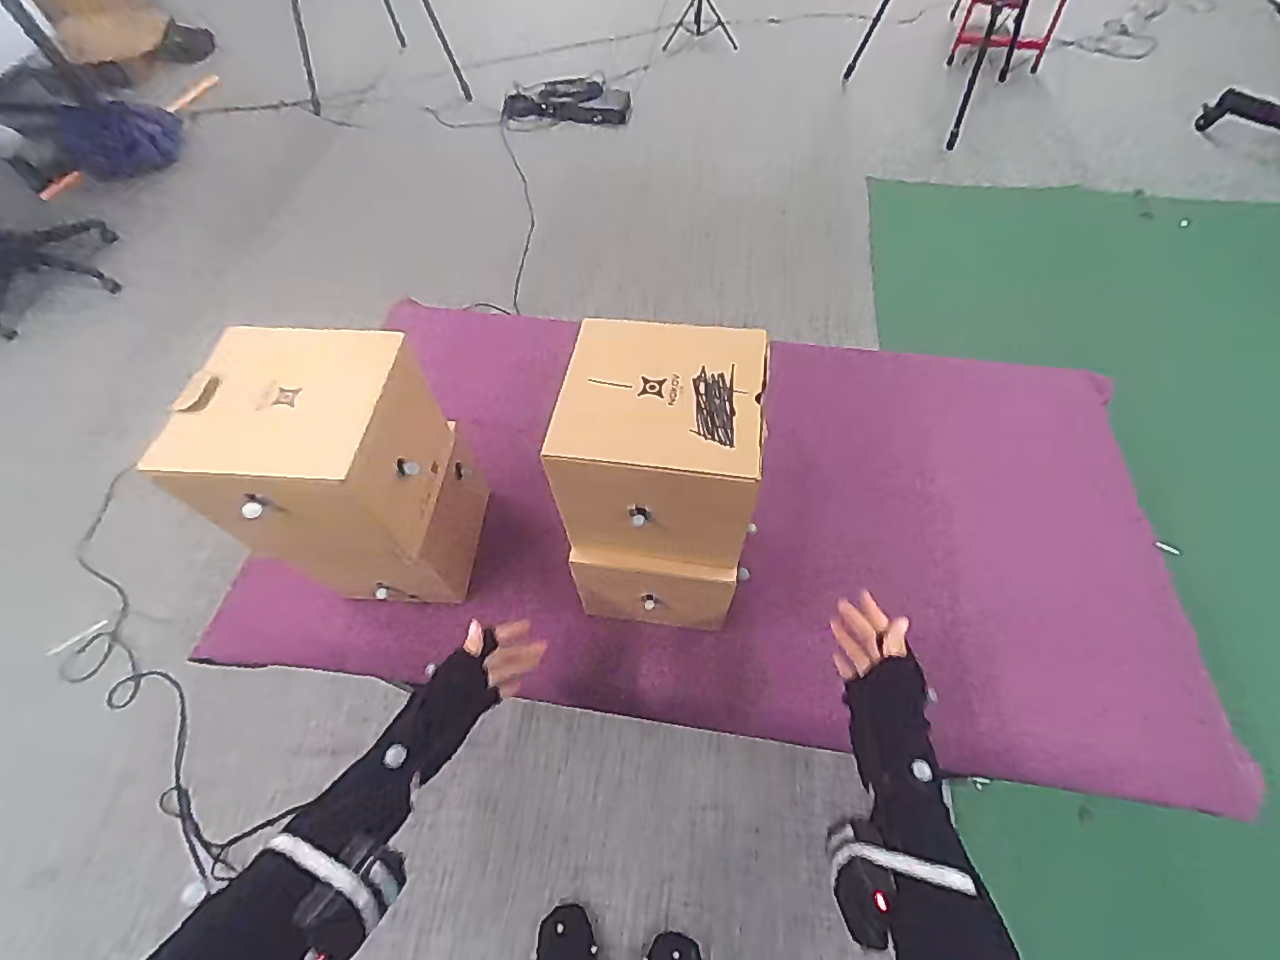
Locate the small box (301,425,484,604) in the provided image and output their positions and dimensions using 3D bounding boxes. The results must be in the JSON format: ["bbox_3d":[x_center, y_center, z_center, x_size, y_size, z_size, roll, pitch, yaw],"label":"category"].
[{"bbox_3d":[-0.309,0.042,0.691,0.168,0.176,0.179,3,59,1],"label":"small box"}]

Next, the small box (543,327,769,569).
[{"bbox_3d":[0.022,-0.025,0.538,0.179,0.176,0.168,7,57,7],"label":"small box"}]

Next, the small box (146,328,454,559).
[{"bbox_3d":[-0.307,-0.029,0.541,0.179,0.176,0.168,3,59,3],"label":"small box"}]
